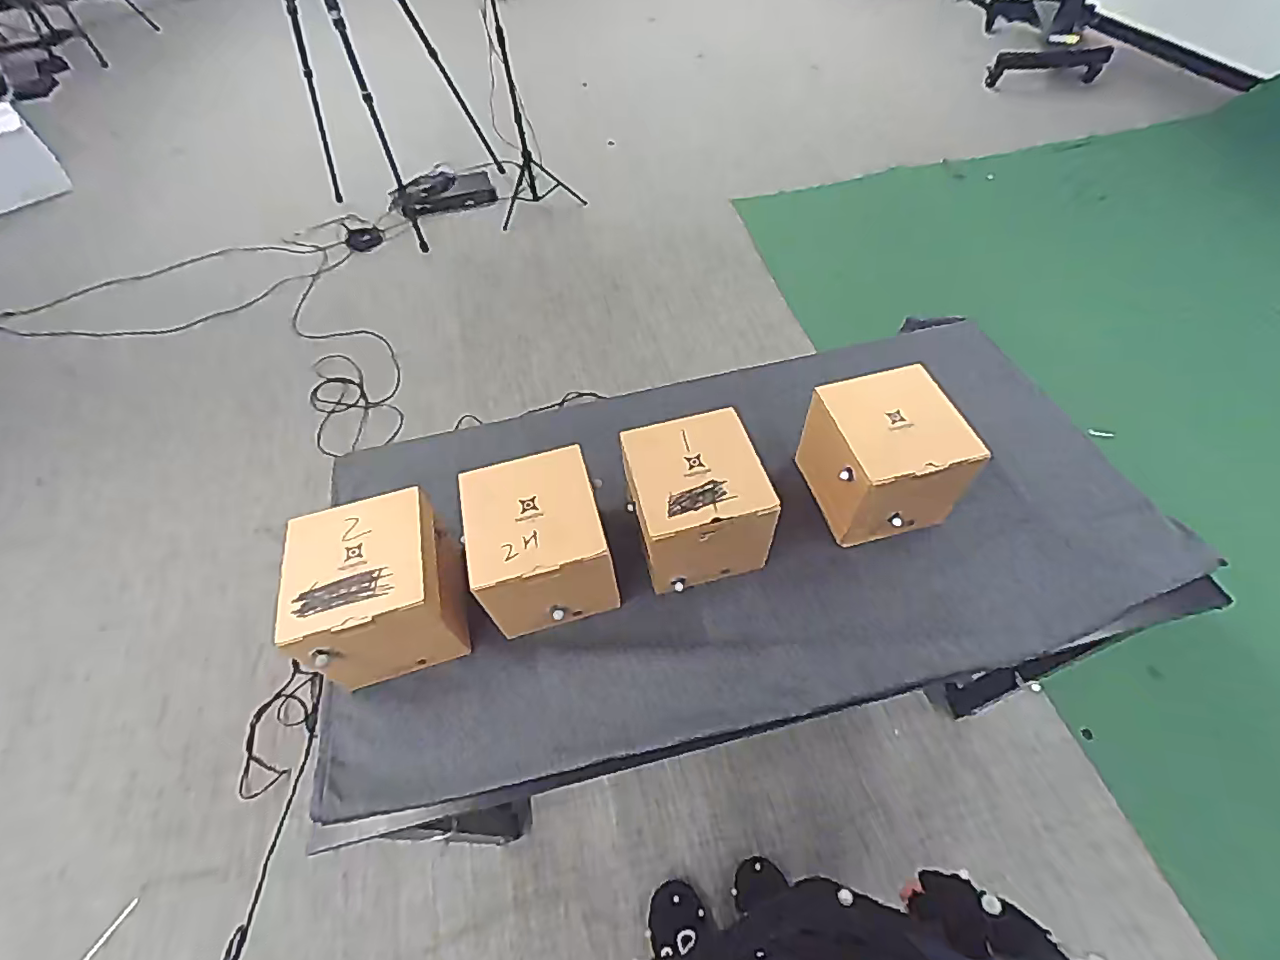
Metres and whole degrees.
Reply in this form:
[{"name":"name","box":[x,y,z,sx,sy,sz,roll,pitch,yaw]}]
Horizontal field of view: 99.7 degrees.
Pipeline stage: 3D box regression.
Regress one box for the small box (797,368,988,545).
[{"name":"small box","box":[0.348,-0.032,0.791,0.168,0.176,0.179,-13,55,-5]}]
